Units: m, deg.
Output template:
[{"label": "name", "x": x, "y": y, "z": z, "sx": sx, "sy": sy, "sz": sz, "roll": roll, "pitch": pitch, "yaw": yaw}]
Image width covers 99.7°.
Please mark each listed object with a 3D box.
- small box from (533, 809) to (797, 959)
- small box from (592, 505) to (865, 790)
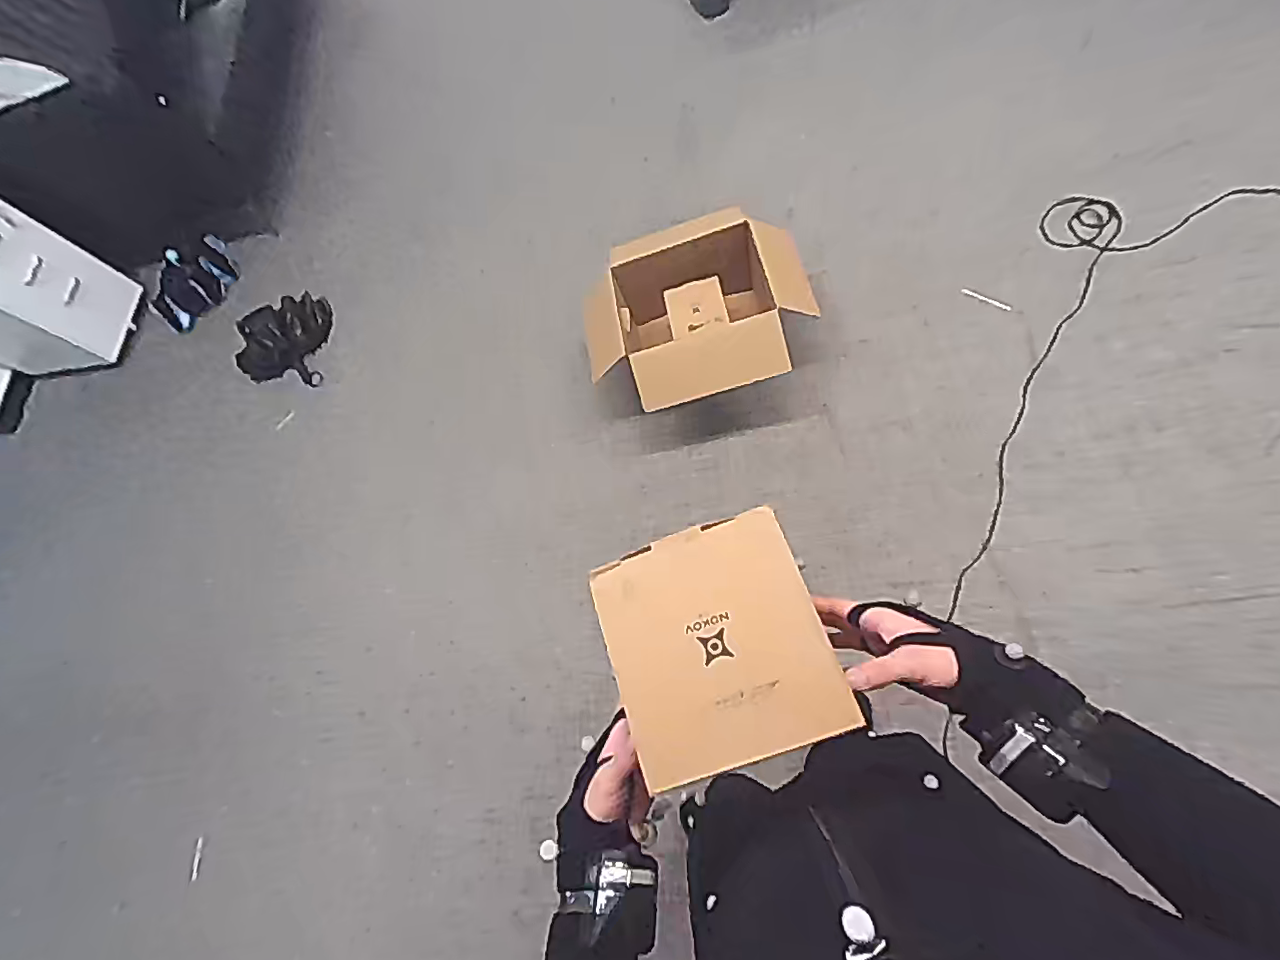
[{"label": "small box", "x": 0.001, "y": 0.432, "z": 0.444, "sx": 0.179, "sy": 0.168, "sz": 0.176, "roll": 32, "pitch": 114, "yaw": 11}, {"label": "small box", "x": 0.075, "y": 0.147, "z": 0.488, "sx": 0.168, "sy": 0.176, "sz": 0.179, "roll": -21, "pitch": 69, "yaw": 6}]
